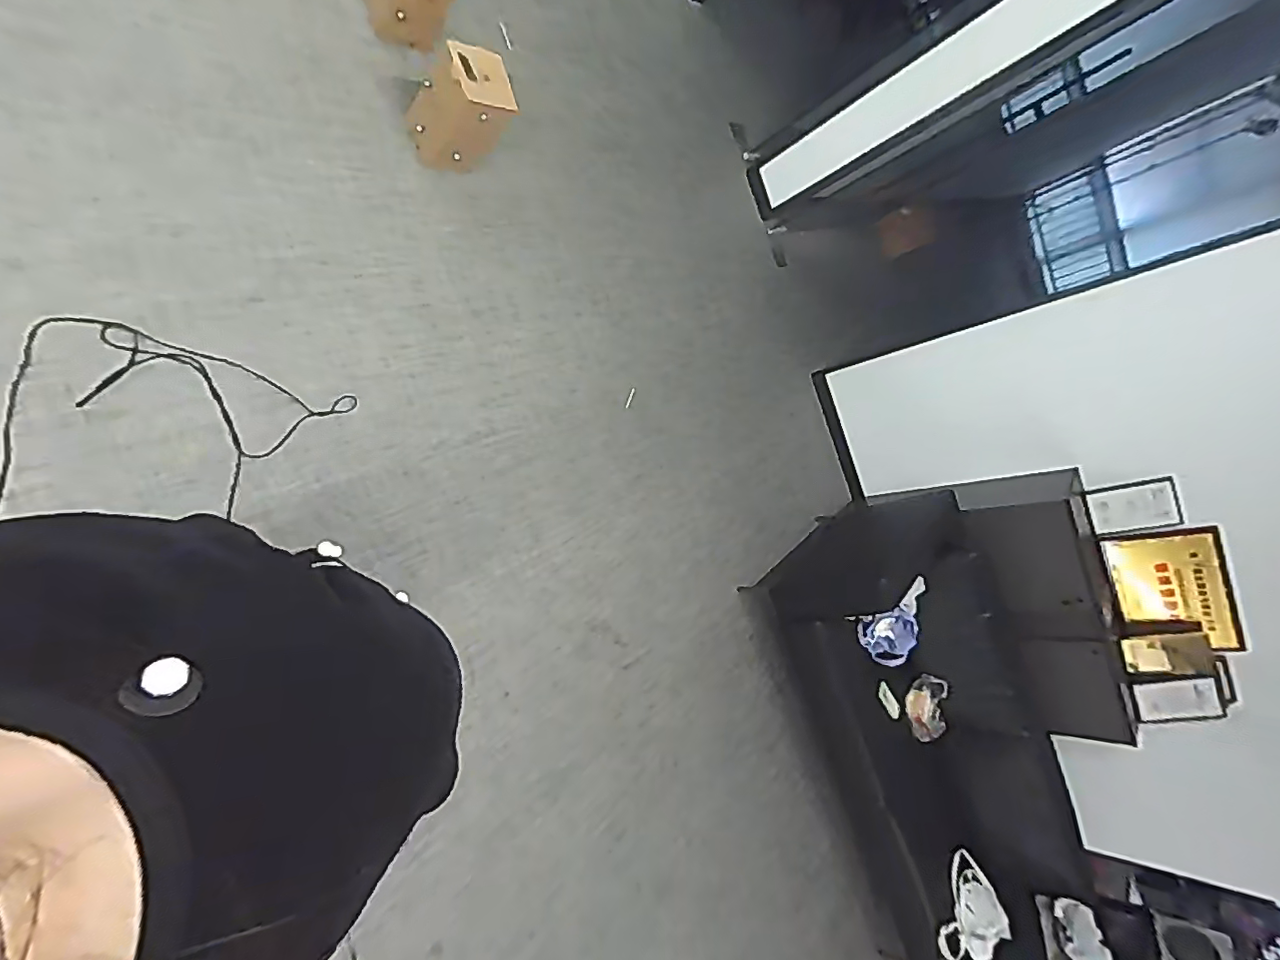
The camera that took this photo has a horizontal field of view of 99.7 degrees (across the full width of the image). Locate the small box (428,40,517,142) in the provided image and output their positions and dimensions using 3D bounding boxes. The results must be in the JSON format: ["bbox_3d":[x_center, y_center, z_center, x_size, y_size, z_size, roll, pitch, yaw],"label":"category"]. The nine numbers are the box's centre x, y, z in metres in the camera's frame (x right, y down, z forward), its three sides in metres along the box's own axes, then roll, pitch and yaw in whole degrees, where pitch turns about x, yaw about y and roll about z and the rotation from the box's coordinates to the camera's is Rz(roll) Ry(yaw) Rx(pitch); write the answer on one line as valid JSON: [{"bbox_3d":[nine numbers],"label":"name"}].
[{"bbox_3d":[-0.495,-1.121,1.576,0.179,0.176,0.168,-23,97,-43],"label":"small box"}]

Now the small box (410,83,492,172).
[{"bbox_3d":[-0.602,-1.097,1.700,0.179,0.176,0.168,-25,99,-42],"label":"small box"}]

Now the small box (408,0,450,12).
[{"bbox_3d":[-0.627,-1.502,1.534,0.168,0.176,0.179,-23,97,-43],"label":"small box"}]
